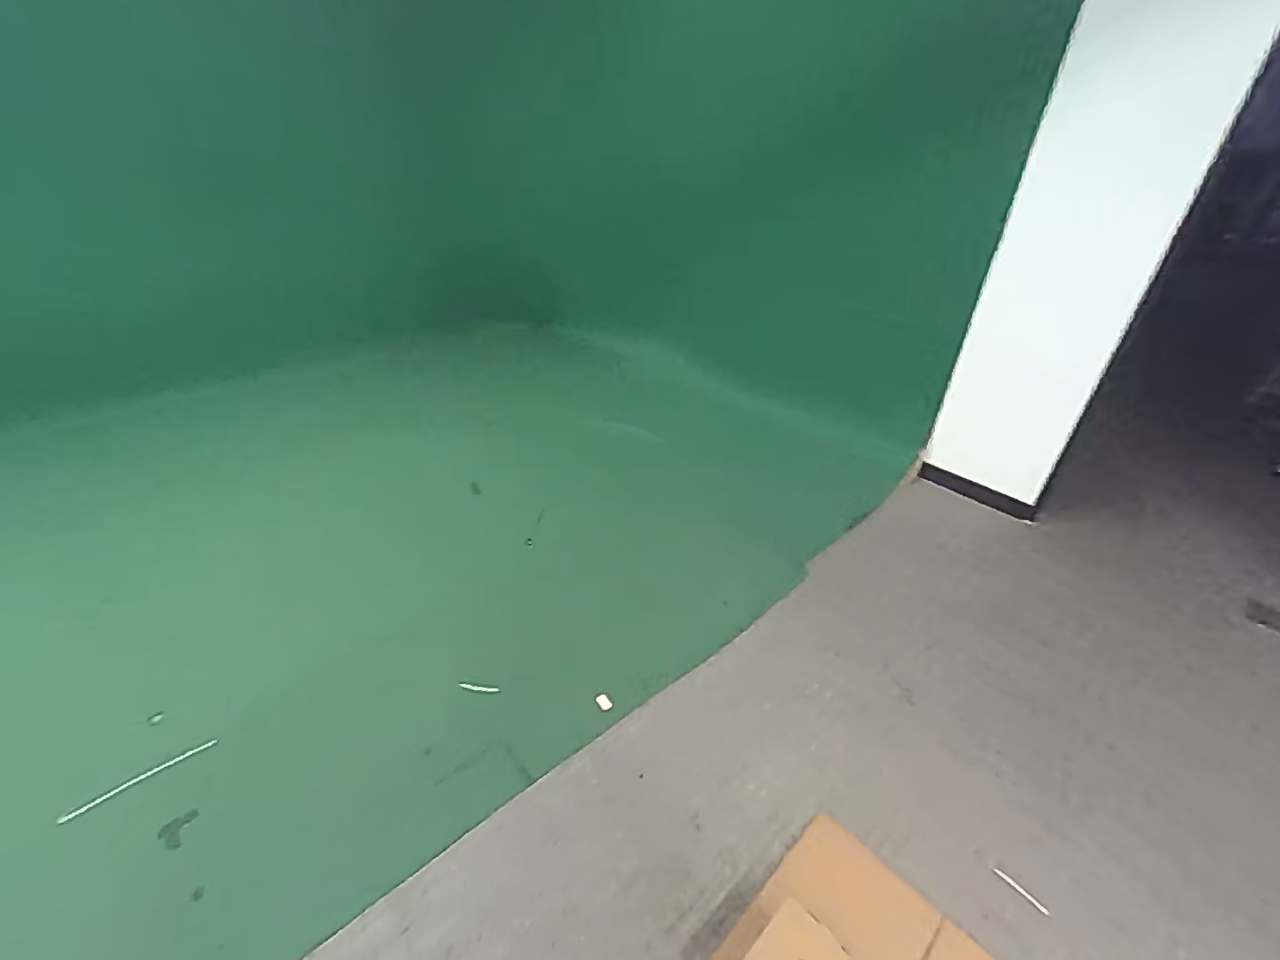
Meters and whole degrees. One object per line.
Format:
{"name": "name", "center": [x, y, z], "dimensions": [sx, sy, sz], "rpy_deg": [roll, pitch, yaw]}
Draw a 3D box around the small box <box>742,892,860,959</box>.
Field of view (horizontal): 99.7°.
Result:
{"name": "small box", "center": [0.283, 0.913, 0.976], "dimensions": [0.179, 0.176, 0.168], "rpy_deg": [-28, 42, -33]}
